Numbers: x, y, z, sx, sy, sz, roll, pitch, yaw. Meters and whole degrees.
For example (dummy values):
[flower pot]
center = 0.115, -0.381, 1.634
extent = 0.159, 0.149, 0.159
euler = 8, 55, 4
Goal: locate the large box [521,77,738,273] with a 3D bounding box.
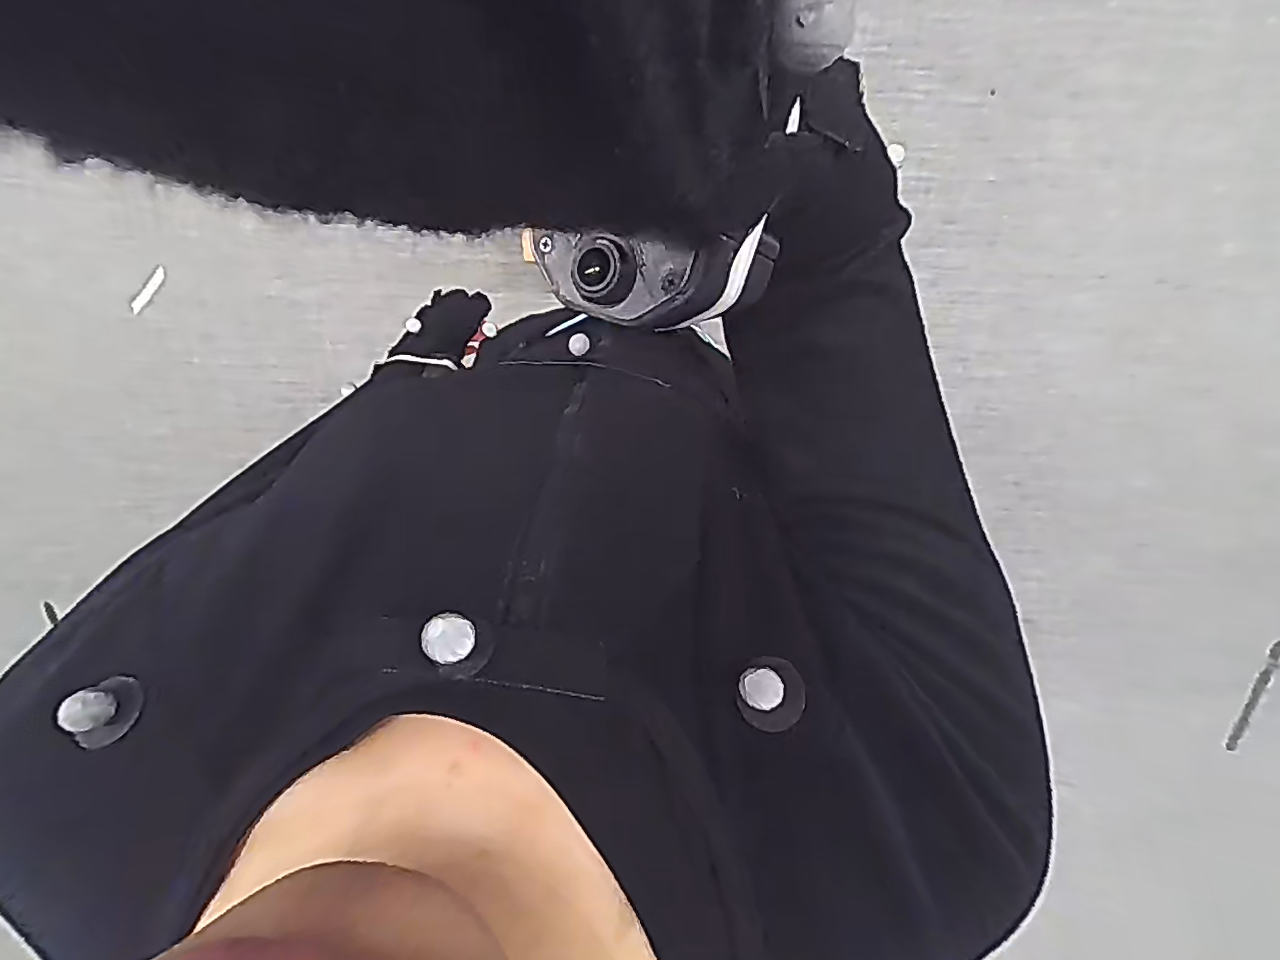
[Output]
[large box]
center = -0.018, -0.625, 1.167
extent = 0.408, 0.320, 0.320
euler = 1, 108, 1
